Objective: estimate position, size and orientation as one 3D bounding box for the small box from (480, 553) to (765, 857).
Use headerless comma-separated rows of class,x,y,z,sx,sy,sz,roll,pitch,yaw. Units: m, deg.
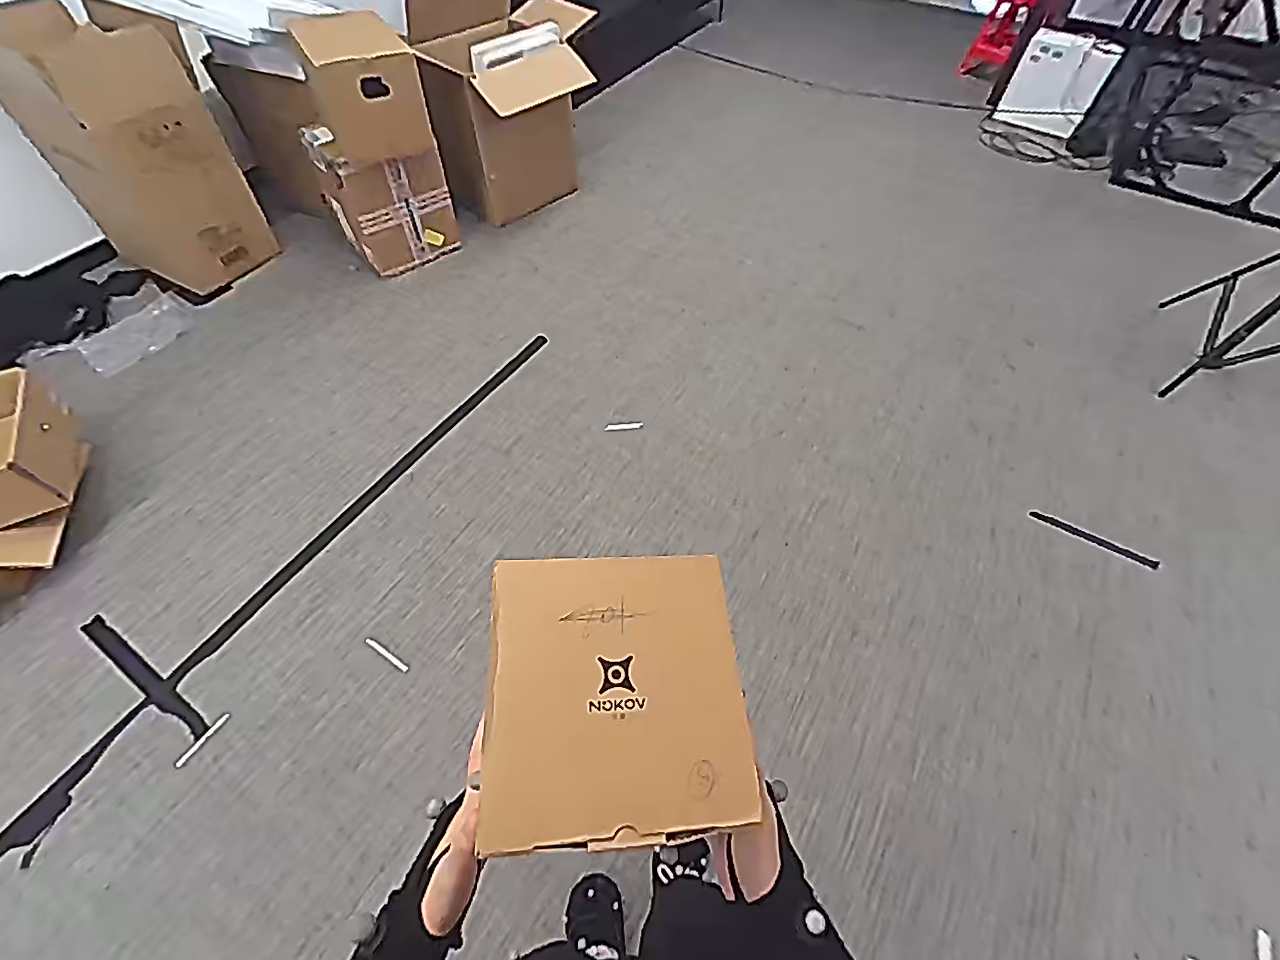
small box,-0.023,0.171,0.413,0.168,0.176,0.179,0,56,-10
